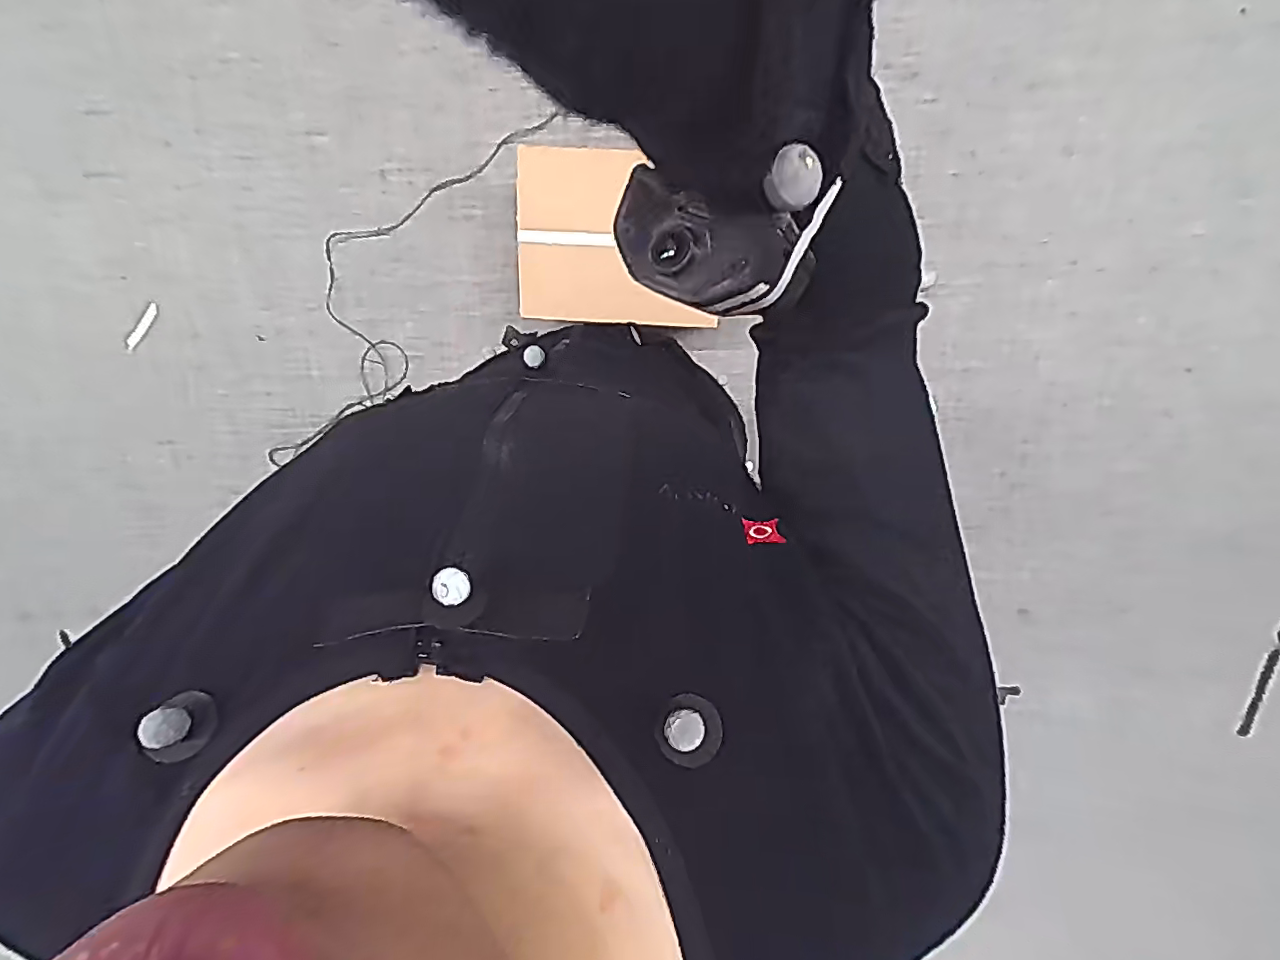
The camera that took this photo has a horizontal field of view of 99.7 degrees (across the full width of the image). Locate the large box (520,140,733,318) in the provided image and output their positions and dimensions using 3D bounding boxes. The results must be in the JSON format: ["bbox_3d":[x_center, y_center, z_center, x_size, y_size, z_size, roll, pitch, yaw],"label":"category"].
[{"bbox_3d":[-0.028,-0.522,1.189,0.408,0.320,0.320,3,108,1],"label":"large box"}]
